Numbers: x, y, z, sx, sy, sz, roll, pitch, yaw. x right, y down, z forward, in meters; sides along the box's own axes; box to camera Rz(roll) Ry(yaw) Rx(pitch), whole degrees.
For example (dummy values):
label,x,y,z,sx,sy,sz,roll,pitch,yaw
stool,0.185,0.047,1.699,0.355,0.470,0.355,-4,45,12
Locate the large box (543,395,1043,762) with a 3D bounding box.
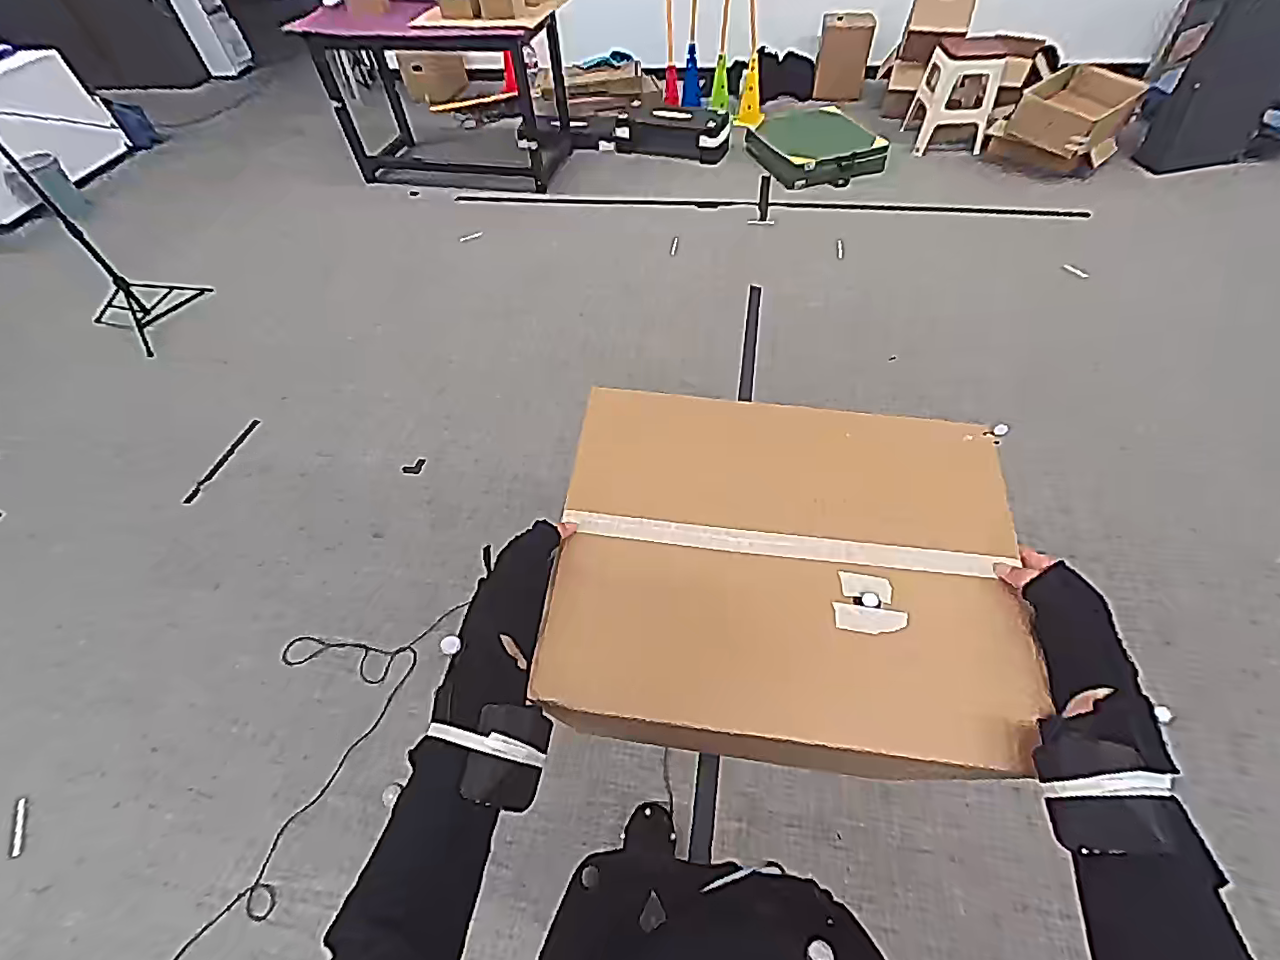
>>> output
label,x,y,z,sx,sy,sz,roll,pitch,yaw
large box,0.131,0.130,0.628,0.408,0.320,0.320,6,62,3
